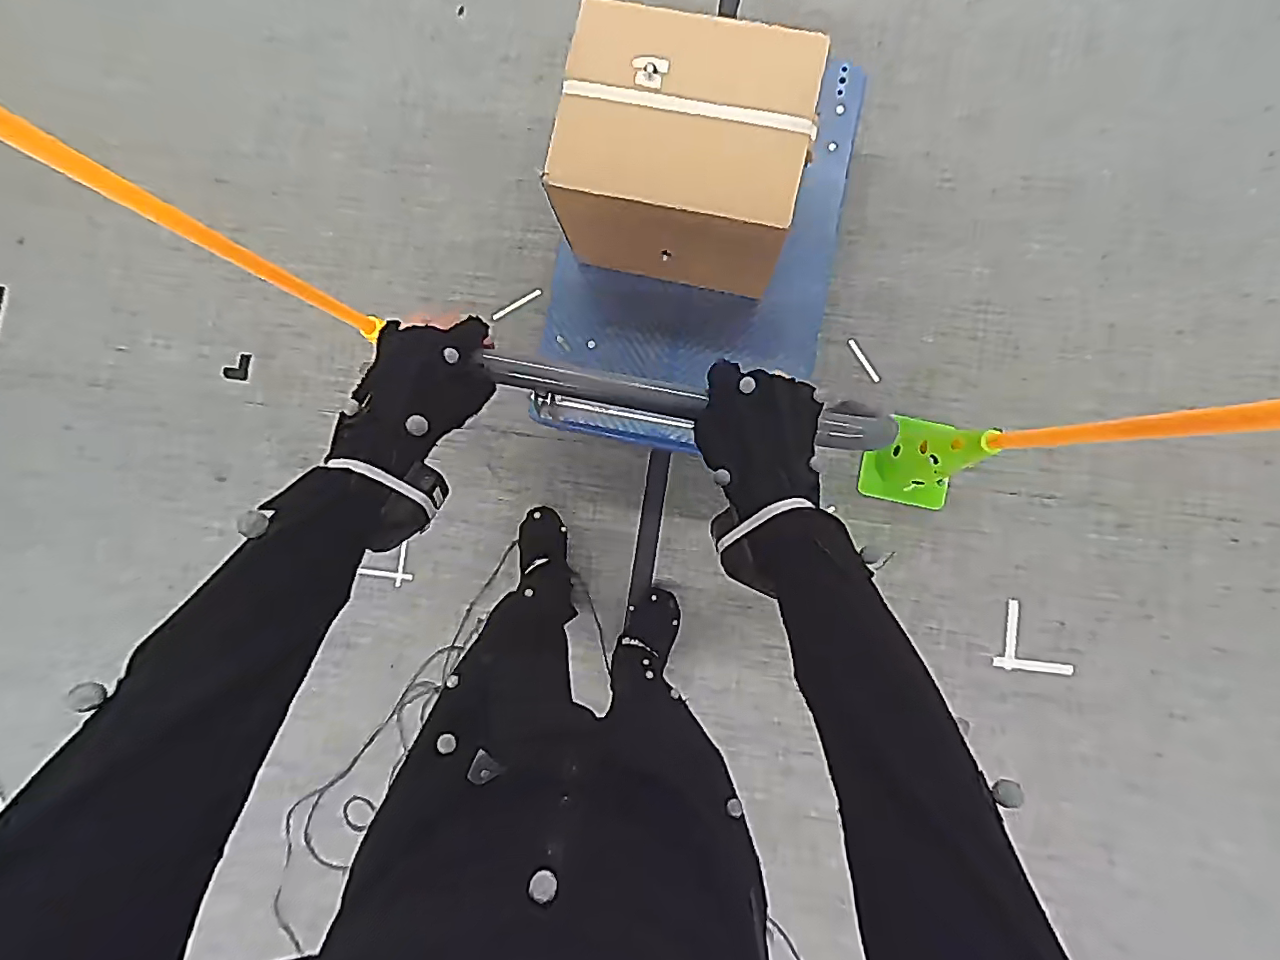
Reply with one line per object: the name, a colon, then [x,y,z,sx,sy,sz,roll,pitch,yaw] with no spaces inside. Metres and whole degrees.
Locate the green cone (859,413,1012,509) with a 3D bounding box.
green cone: [0.616,-0.052,1.095,0.202,0.368,0.200,12,89,4]

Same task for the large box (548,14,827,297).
large box: [0.087,-0.573,1.015,0.408,0.320,0.320,13,90,5]
